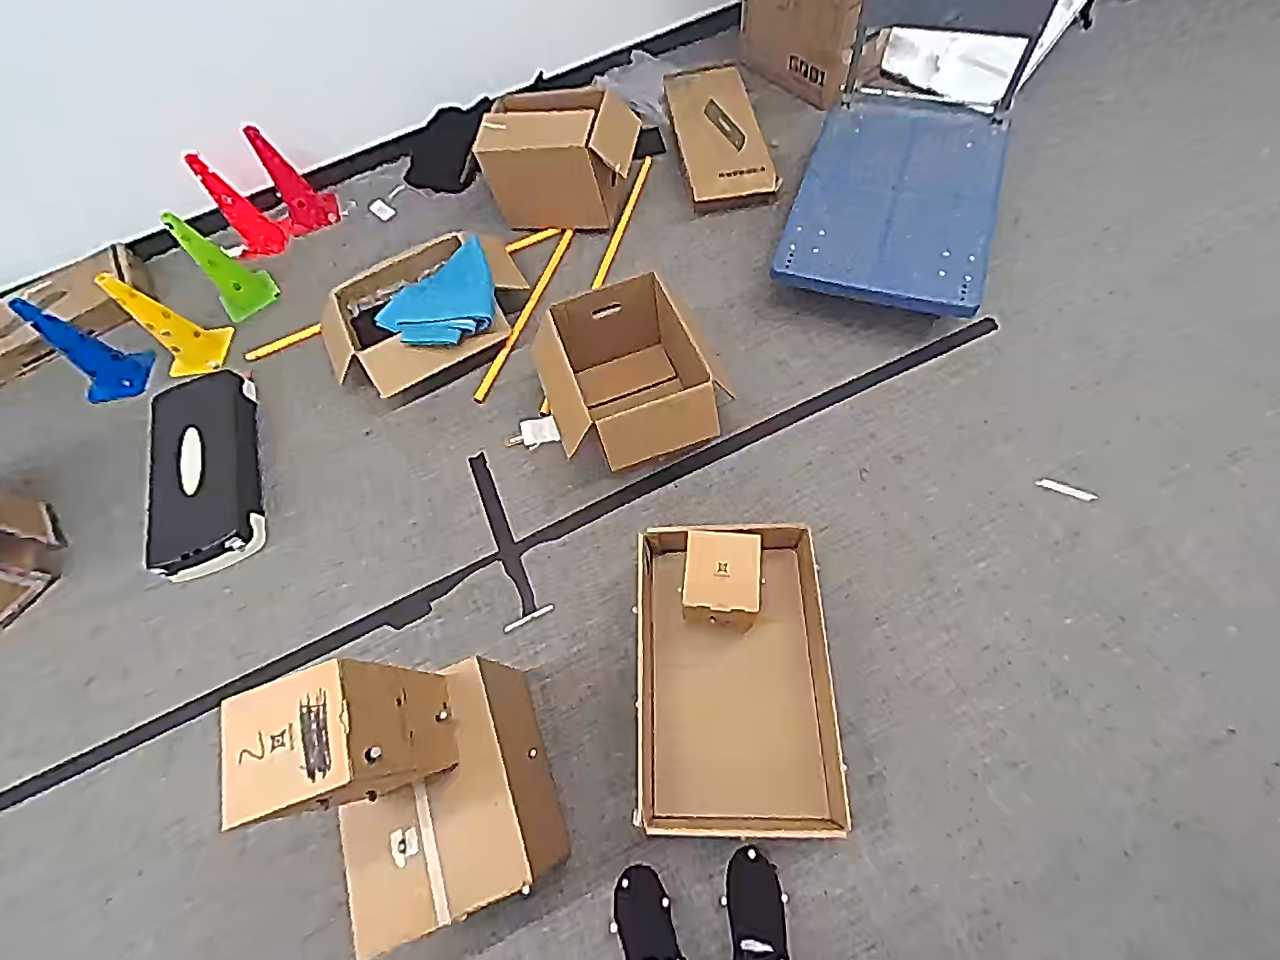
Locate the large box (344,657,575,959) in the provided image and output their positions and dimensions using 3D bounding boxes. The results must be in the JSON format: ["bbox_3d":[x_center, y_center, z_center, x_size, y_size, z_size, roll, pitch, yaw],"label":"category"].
[{"bbox_3d":[-0.369,0.632,1.115,0.320,0.320,0.408,-24,65,-3],"label":"large box"}]

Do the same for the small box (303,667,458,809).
[{"bbox_3d":[-0.444,0.443,0.939,0.179,0.176,0.168,-21,66,-3],"label":"small box"}]
